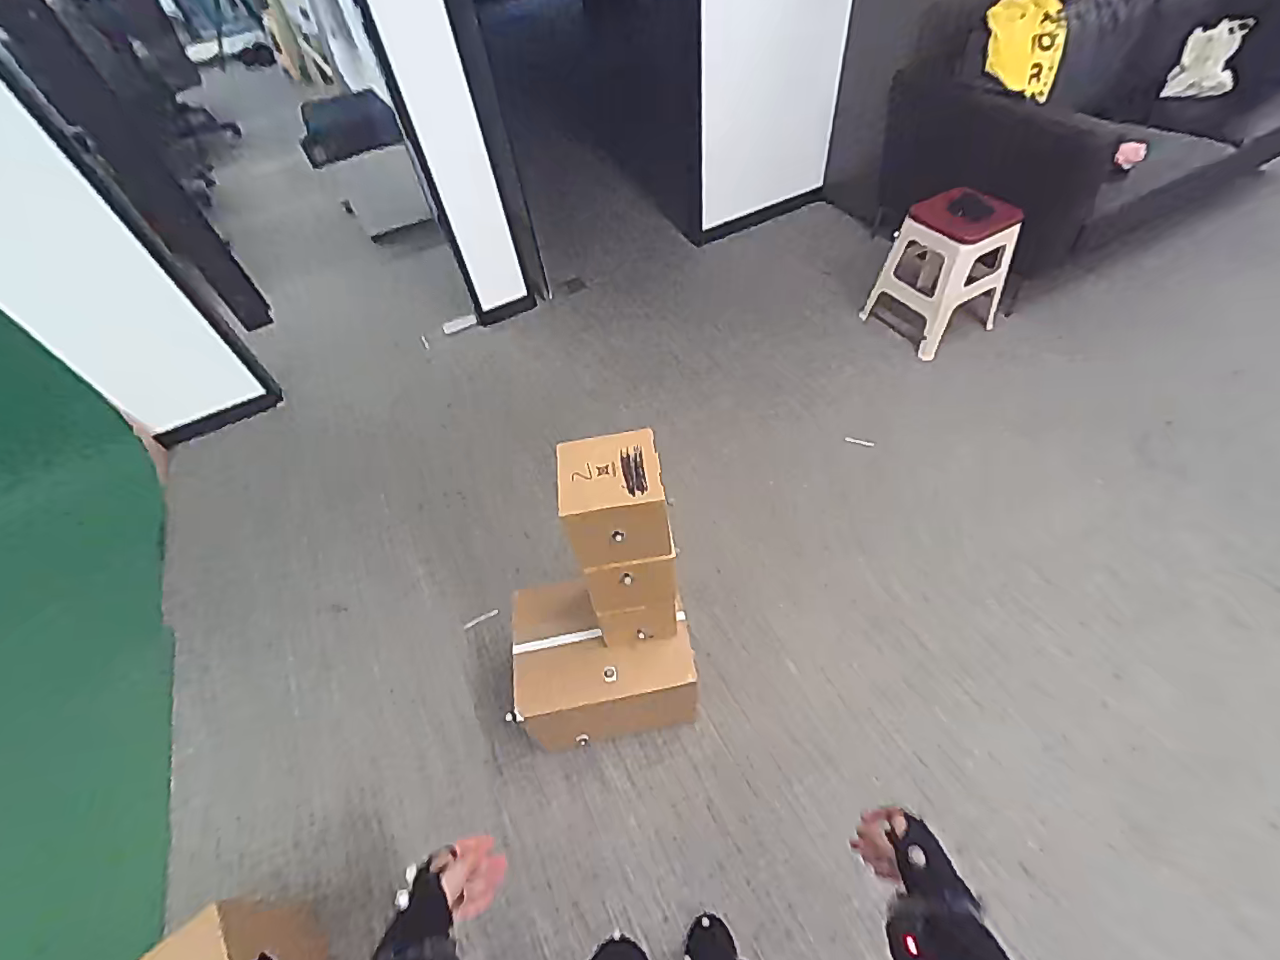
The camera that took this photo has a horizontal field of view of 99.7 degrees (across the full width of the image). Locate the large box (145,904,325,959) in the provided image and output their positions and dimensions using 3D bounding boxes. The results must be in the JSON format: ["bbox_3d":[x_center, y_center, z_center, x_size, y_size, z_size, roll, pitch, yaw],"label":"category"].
[{"bbox_3d":[-0.819,1.069,0.968,0.408,0.320,0.320,-37,56,-20],"label":"large box"}]

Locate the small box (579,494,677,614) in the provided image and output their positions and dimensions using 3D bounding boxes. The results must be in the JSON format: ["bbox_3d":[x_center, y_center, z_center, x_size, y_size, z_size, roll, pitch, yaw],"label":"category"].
[{"bbox_3d":[-0.022,0.152,1.092,0.179,0.176,0.168,-9,49,0],"label":"small box"}]

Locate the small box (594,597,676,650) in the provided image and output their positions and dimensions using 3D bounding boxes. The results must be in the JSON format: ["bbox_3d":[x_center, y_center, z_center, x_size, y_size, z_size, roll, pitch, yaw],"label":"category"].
[{"bbox_3d":[-0.016,0.257,1.215,0.168,0.176,0.179,-10,50,-1],"label":"small box"}]
